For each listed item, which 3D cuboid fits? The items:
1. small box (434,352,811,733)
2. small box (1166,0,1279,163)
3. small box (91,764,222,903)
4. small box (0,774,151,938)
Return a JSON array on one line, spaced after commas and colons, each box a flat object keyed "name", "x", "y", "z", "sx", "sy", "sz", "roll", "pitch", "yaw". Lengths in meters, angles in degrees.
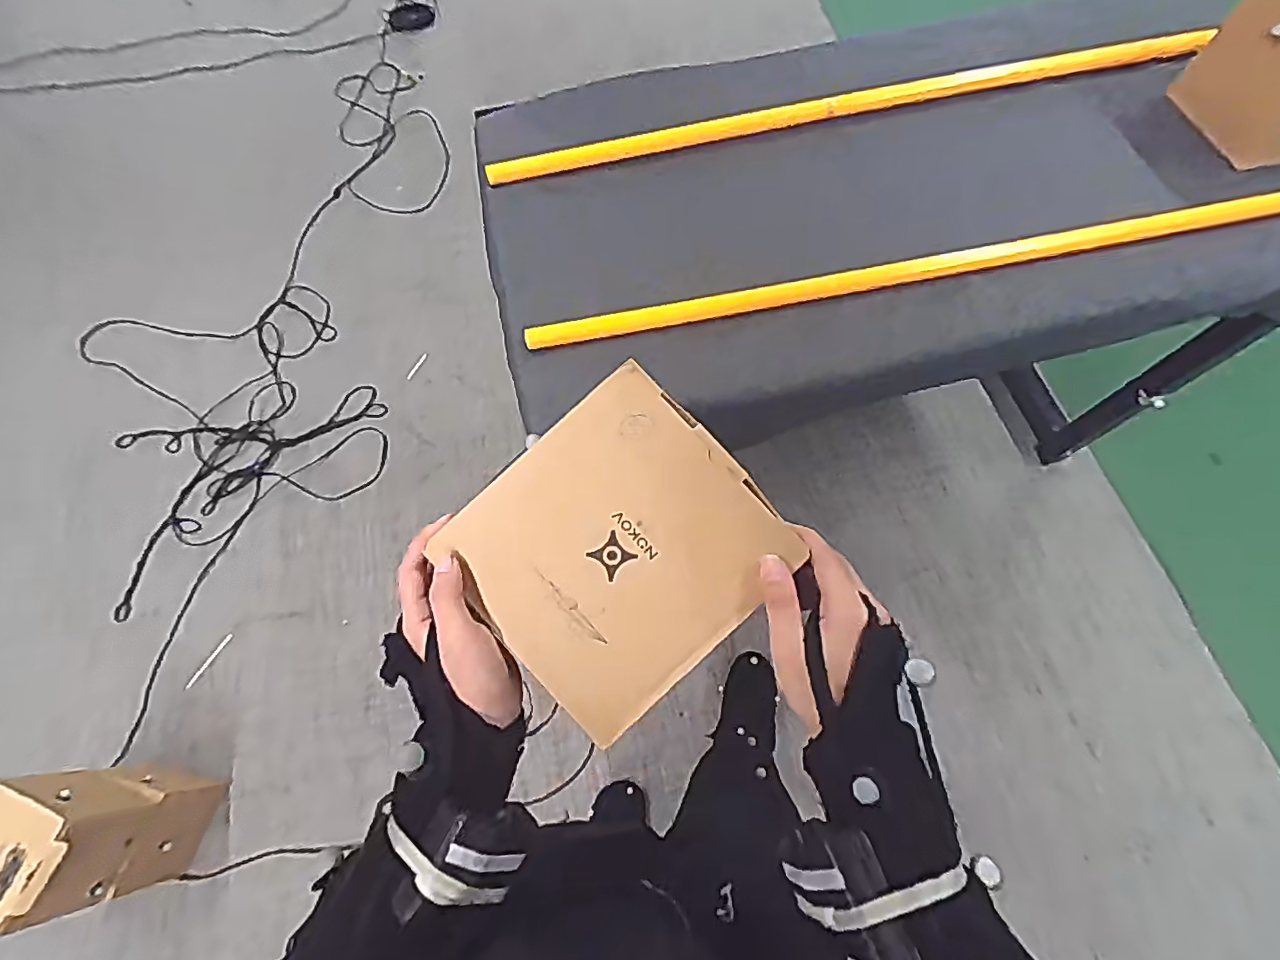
[{"name": "small box", "x": -0.011, "y": 0.039, "z": 0.408, "sx": 0.179, "sy": 0.176, "sz": 0.168, "roll": -44, "pitch": 87, "yaw": -1}, {"name": "small box", "x": 0.871, "y": -0.545, "z": 0.705, "sx": 0.168, "sy": 0.176, "sz": 0.179, "roll": -12, "pitch": 67, "yaw": -1}, {"name": "small box", "x": -0.989, "y": 0.683, "z": 1.068, "sx": 0.168, "sy": 0.176, "sz": 0.179, "roll": 12, "pitch": 68, "yaw": 8}, {"name": "small box", "x": -1.007, "y": 0.619, "z": 0.917, "sx": 0.179, "sy": 0.176, "sz": 0.168, "roll": 17, "pitch": 68, "yaw": 11}]
